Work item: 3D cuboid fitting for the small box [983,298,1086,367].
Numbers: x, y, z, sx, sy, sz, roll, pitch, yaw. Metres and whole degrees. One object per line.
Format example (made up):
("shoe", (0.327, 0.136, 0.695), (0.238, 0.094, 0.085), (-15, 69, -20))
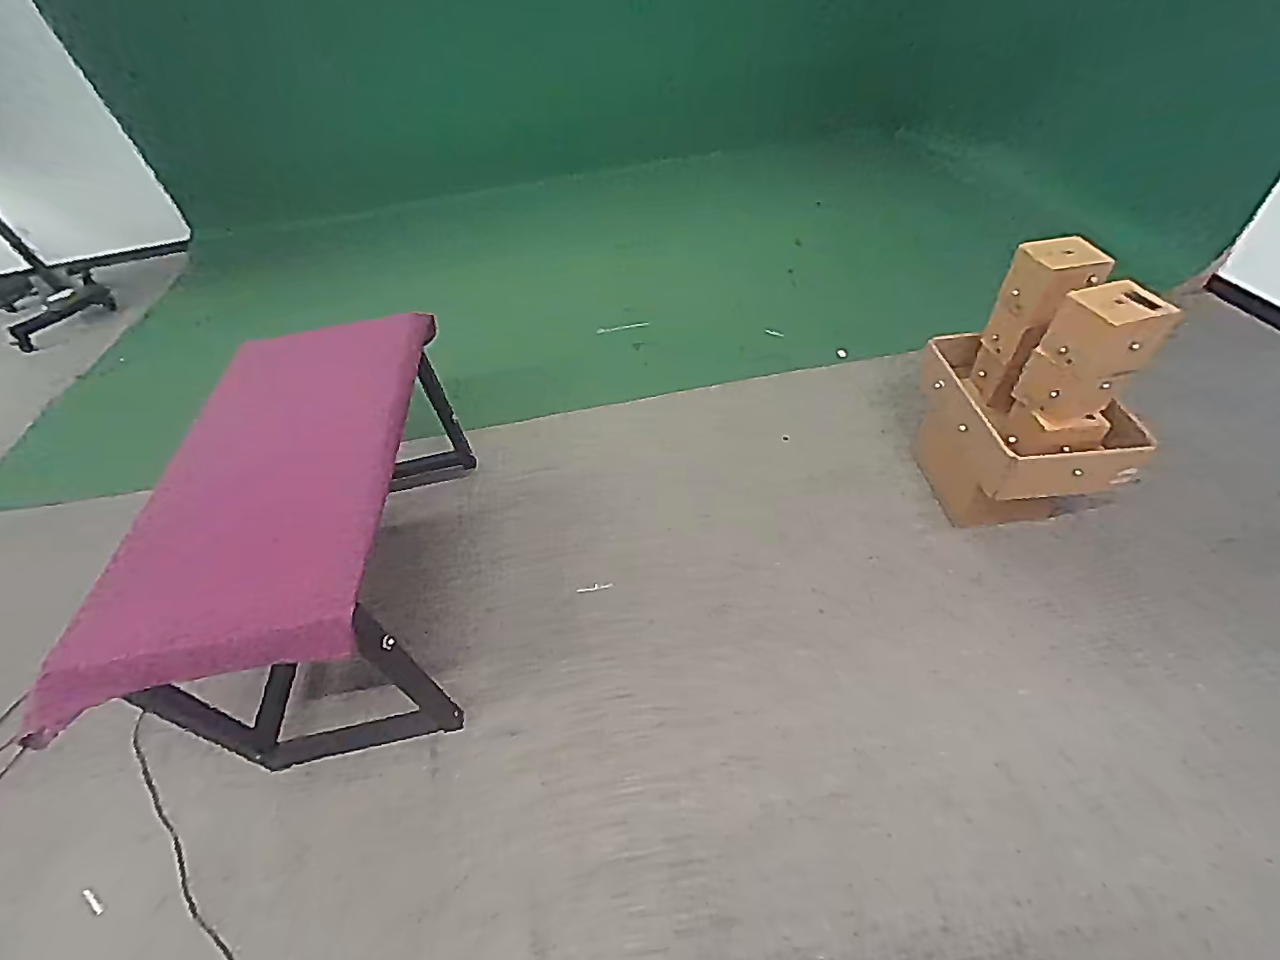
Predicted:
("small box", (1.232, -0.478, 1.705), (0.179, 0.176, 0.168), (-8, 47, 2))

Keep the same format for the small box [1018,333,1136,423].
("small box", (1.214, -0.284, 1.525), (0.179, 0.176, 0.168), (-18, 48, -9))

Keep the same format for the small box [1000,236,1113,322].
("small box", (1.207, -0.586, 1.584), (0.179, 0.176, 0.168), (-7, 47, 2))
